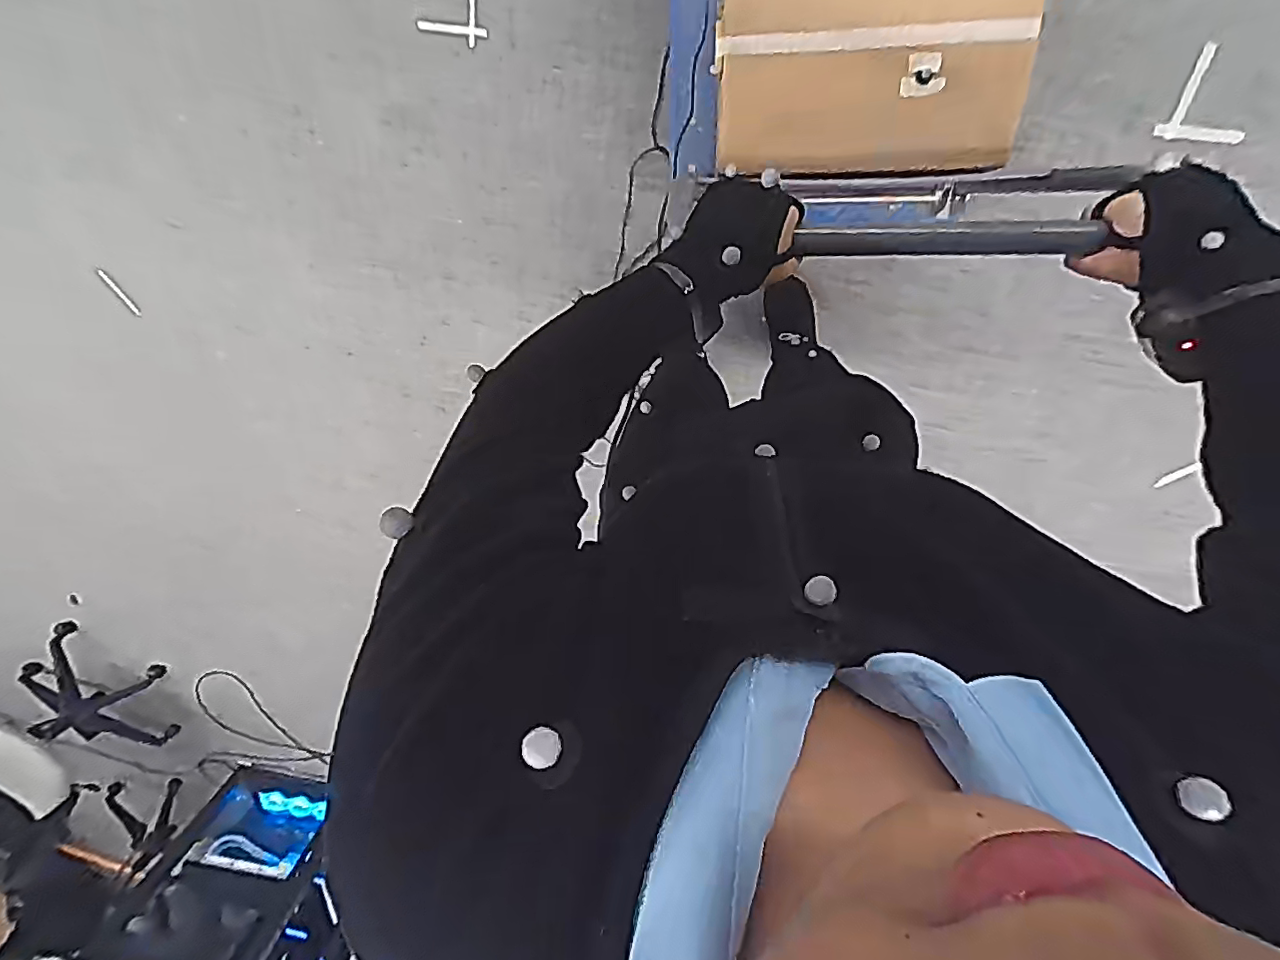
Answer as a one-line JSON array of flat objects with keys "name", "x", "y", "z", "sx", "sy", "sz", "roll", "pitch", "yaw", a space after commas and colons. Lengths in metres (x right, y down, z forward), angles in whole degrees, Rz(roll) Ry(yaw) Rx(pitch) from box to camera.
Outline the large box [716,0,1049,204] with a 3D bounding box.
[{"name": "large box", "x": 0.327, "y": -0.623, "z": 0.849, "sx": 0.408, "sy": 0.320, "sz": 0.320, "roll": 2, "pitch": 115, "yaw": 5}]
